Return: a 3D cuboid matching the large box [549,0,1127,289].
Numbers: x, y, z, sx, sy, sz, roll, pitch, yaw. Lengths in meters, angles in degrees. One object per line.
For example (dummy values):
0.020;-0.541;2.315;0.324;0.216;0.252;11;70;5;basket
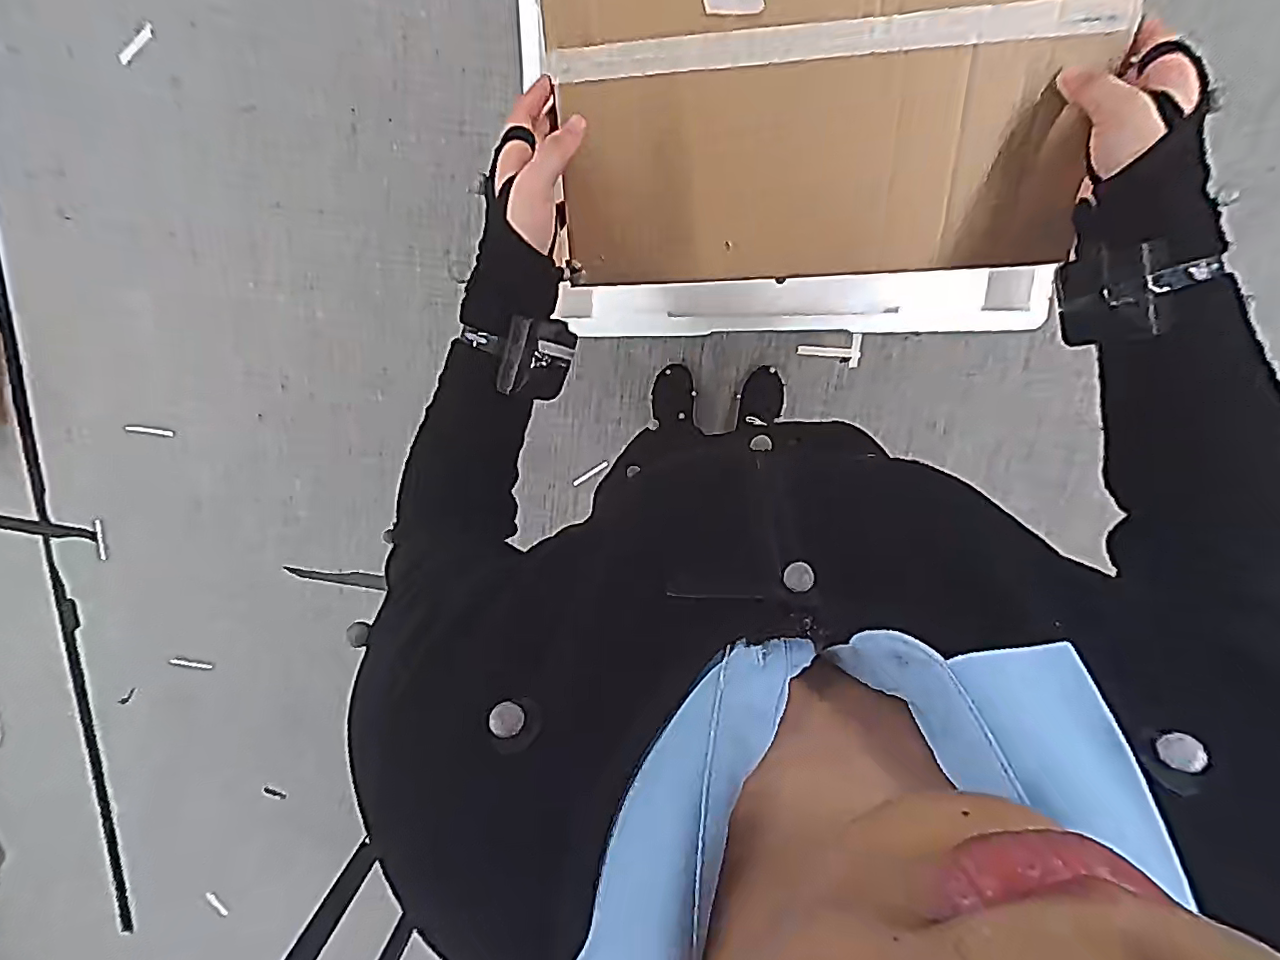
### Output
0.149;-0.372;0.525;0.408;0.320;0.320;-1;112;7;large box
